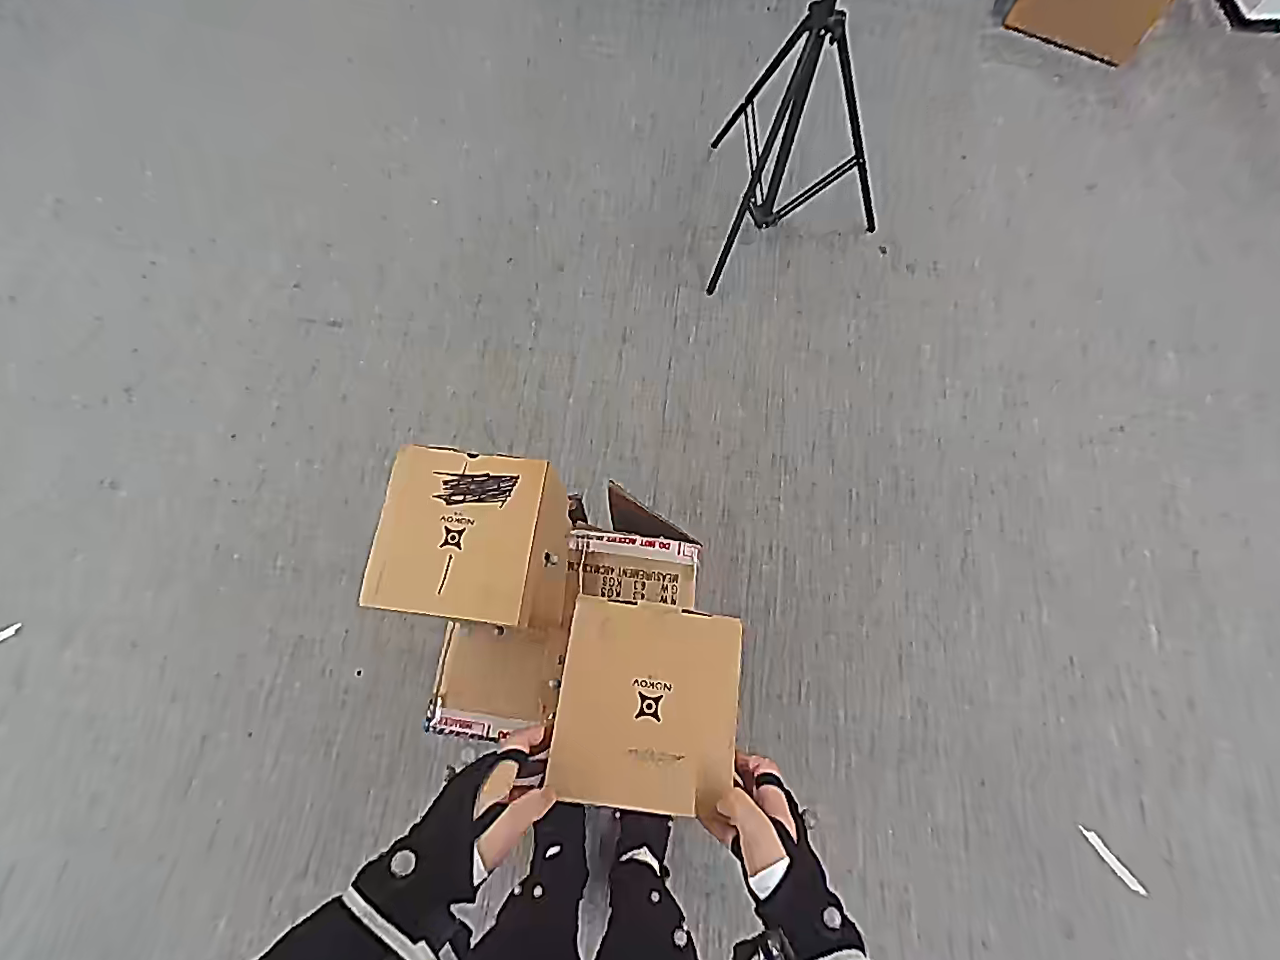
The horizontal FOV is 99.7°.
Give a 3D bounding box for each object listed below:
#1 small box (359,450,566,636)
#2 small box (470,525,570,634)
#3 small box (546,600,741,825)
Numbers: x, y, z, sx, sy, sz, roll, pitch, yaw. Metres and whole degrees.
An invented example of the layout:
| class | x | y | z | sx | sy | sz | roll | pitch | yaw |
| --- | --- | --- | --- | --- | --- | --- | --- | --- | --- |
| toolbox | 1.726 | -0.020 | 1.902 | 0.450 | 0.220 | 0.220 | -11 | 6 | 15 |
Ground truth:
| class | x | y | z | sx | sy | sz | roll | pitch | yaw |
| --- | --- | --- | --- | --- | --- | --- | --- | --- | --- |
| small box | -0.187 | 0.082 | 0.633 | 0.168 | 0.176 | 0.179 | 6 | 73 | 3 |
| small box | -0.200 | 0.127 | 0.791 | 0.168 | 0.176 | 0.179 | 3 | 73 | 2 |
| small box | 0.001 | 0.235 | 0.565 | 0.168 | 0.176 | 0.179 | 7 | 68 | -2 |
